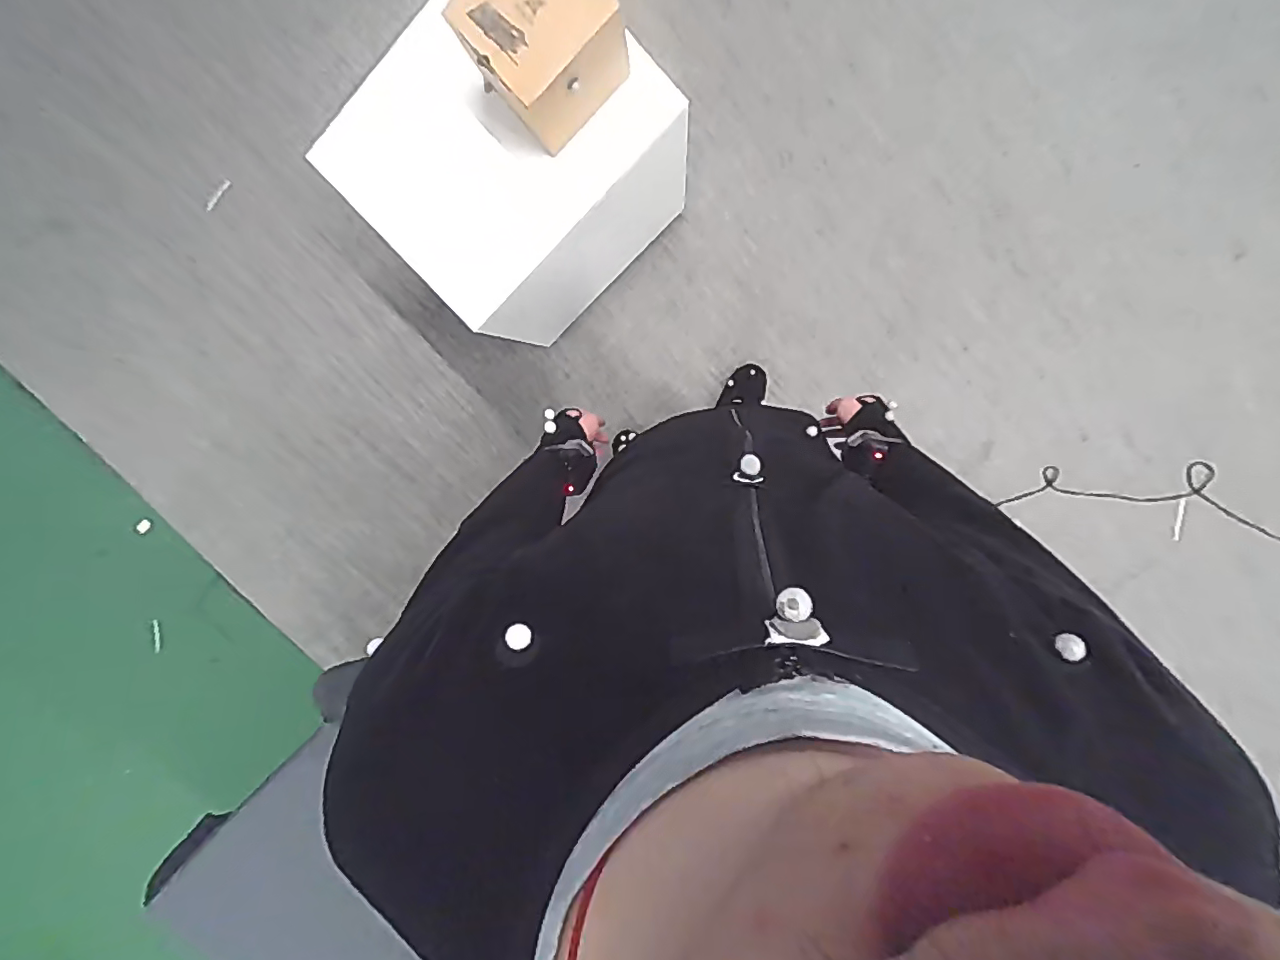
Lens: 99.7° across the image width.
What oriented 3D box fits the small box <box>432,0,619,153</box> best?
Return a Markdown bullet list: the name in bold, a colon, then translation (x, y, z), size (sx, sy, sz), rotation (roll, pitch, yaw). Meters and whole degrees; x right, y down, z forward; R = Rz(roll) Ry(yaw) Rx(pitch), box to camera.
- **small box**: translation (-0.143, -0.604, 0.751), size (0.179, 0.176, 0.168), rotation (-43, 97, 8)
